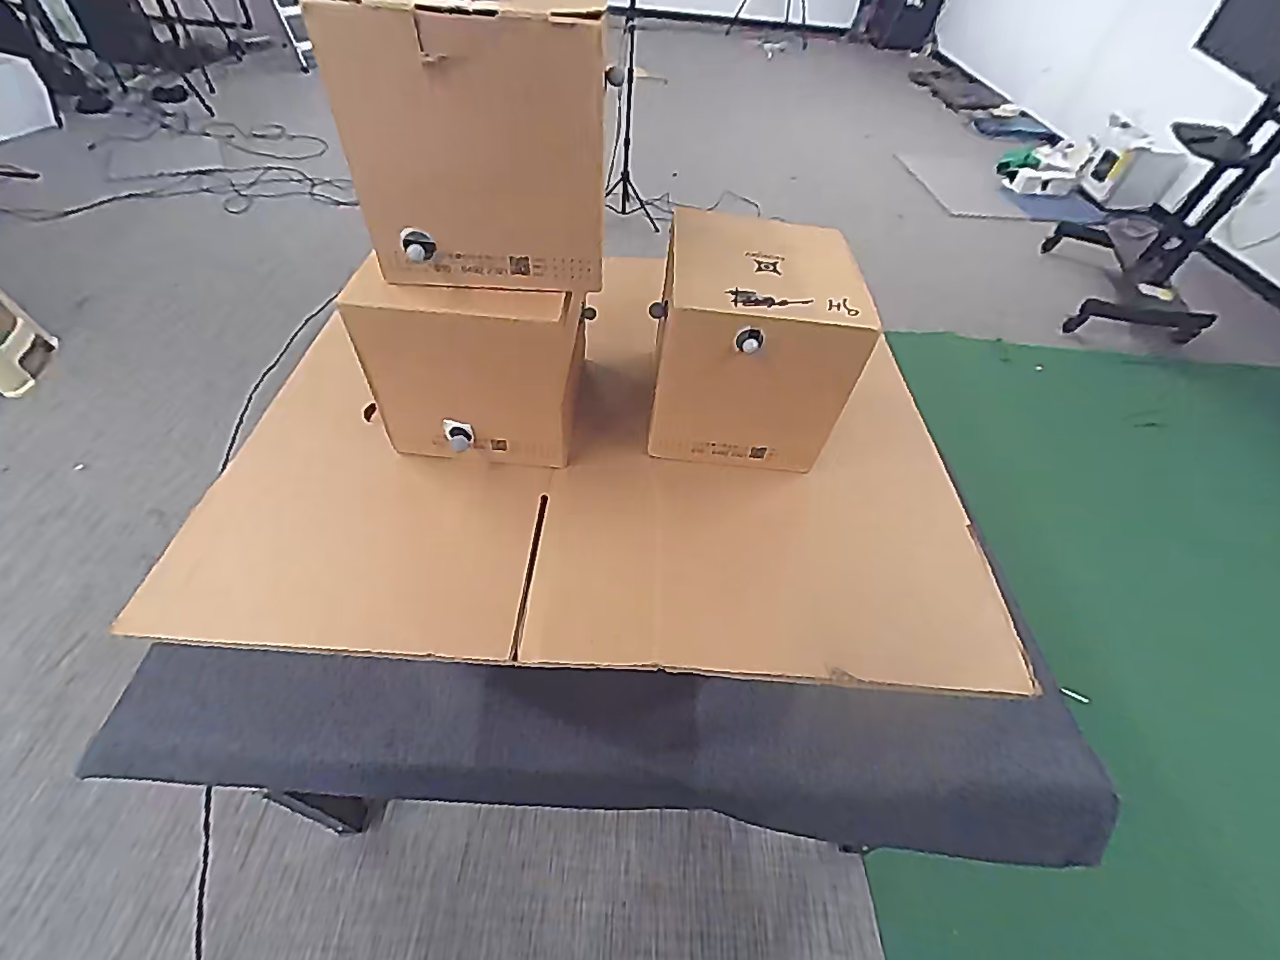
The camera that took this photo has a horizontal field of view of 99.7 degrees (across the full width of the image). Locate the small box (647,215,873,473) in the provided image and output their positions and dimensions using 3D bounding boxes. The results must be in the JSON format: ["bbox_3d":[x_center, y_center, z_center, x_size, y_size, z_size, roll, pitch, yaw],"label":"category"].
[{"bbox_3d":[0.098,-0.132,0.534,0.168,0.176,0.179,6,48,-2],"label":"small box"}]

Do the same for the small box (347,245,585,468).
[{"bbox_3d":[-0.142,-0.135,0.521,0.168,0.176,0.179,3,51,-1],"label":"small box"}]

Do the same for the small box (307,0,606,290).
[{"bbox_3d":[-0.111,-0.264,0.418,0.168,0.176,0.179,2,48,-4],"label":"small box"}]
